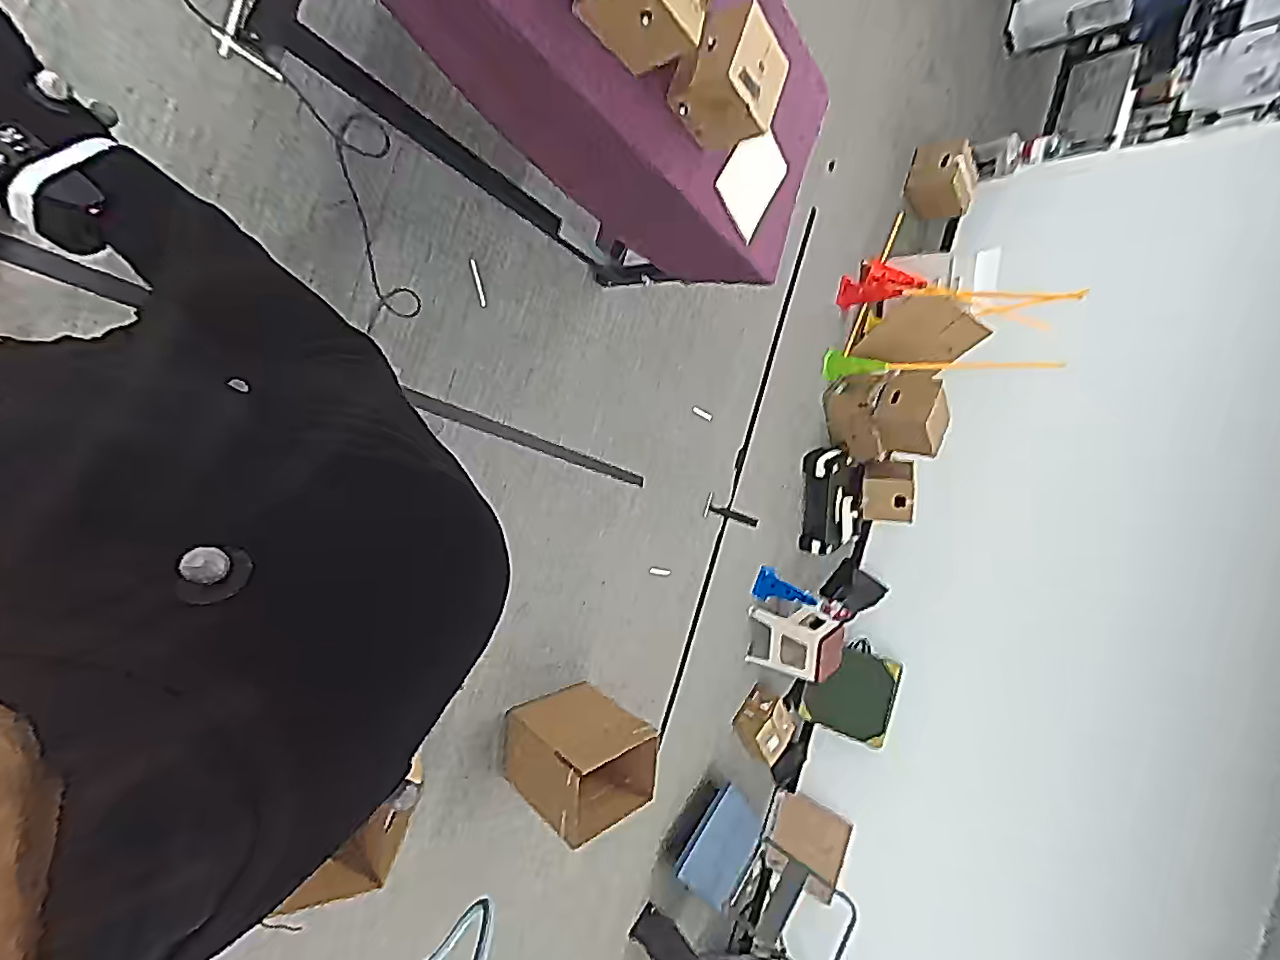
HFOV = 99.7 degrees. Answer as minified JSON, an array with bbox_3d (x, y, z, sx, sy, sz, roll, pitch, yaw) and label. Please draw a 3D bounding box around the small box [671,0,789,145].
[{"bbox_3d":[0.190,-0.865,1.165,0.168,0.176,0.179,24,83,-47],"label":"small box"}]
